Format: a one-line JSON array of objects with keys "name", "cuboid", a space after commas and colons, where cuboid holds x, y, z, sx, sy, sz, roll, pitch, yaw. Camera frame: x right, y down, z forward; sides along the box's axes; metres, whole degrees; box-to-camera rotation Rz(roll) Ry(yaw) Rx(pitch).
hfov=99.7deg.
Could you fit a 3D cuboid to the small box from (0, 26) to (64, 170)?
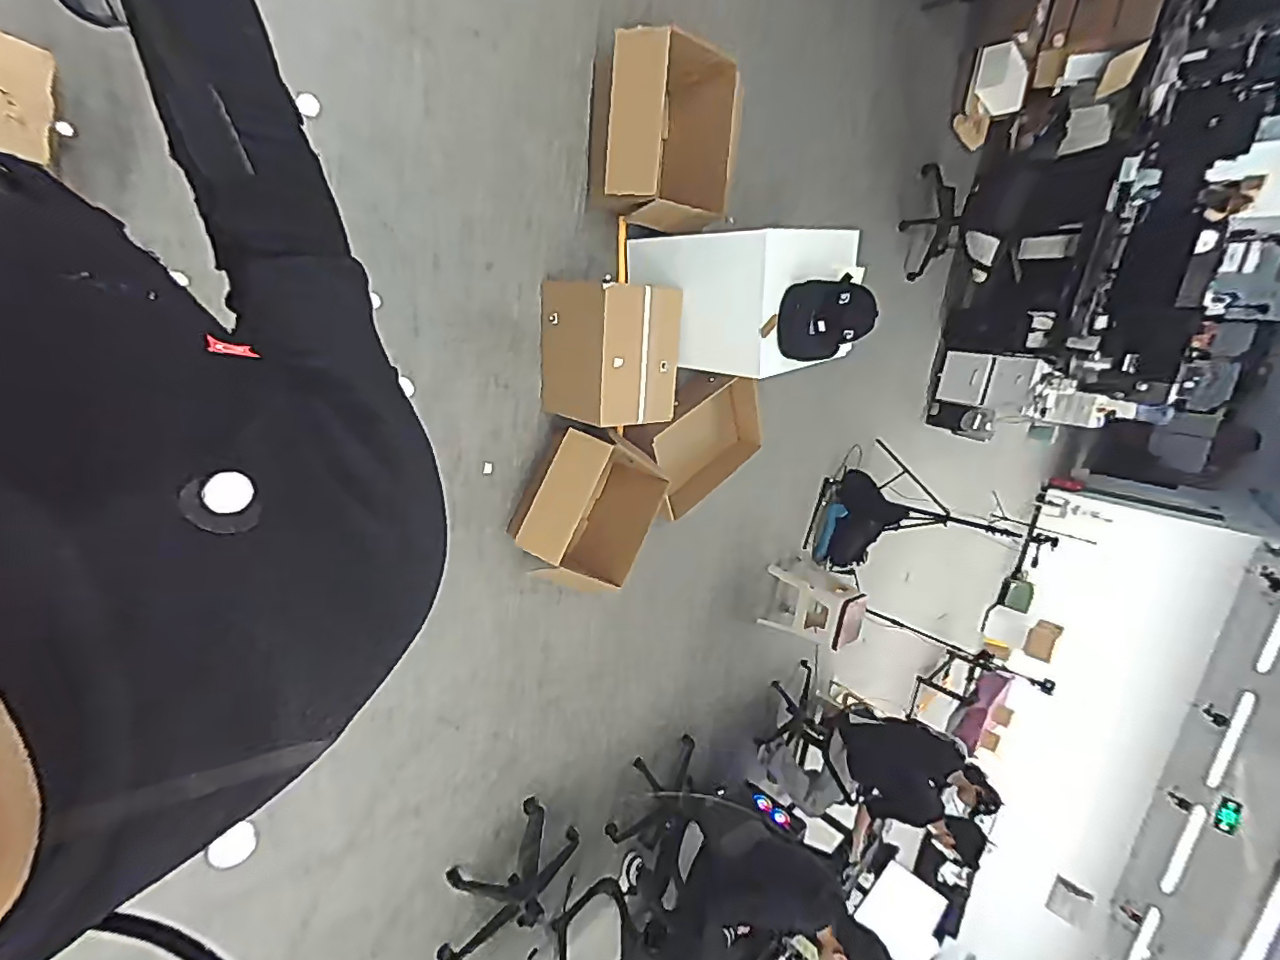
[{"name": "small box", "cuboid": [-1.017, -0.599, 0.823, 0.179, 0.176, 0.168, 5, 102, -46]}]
